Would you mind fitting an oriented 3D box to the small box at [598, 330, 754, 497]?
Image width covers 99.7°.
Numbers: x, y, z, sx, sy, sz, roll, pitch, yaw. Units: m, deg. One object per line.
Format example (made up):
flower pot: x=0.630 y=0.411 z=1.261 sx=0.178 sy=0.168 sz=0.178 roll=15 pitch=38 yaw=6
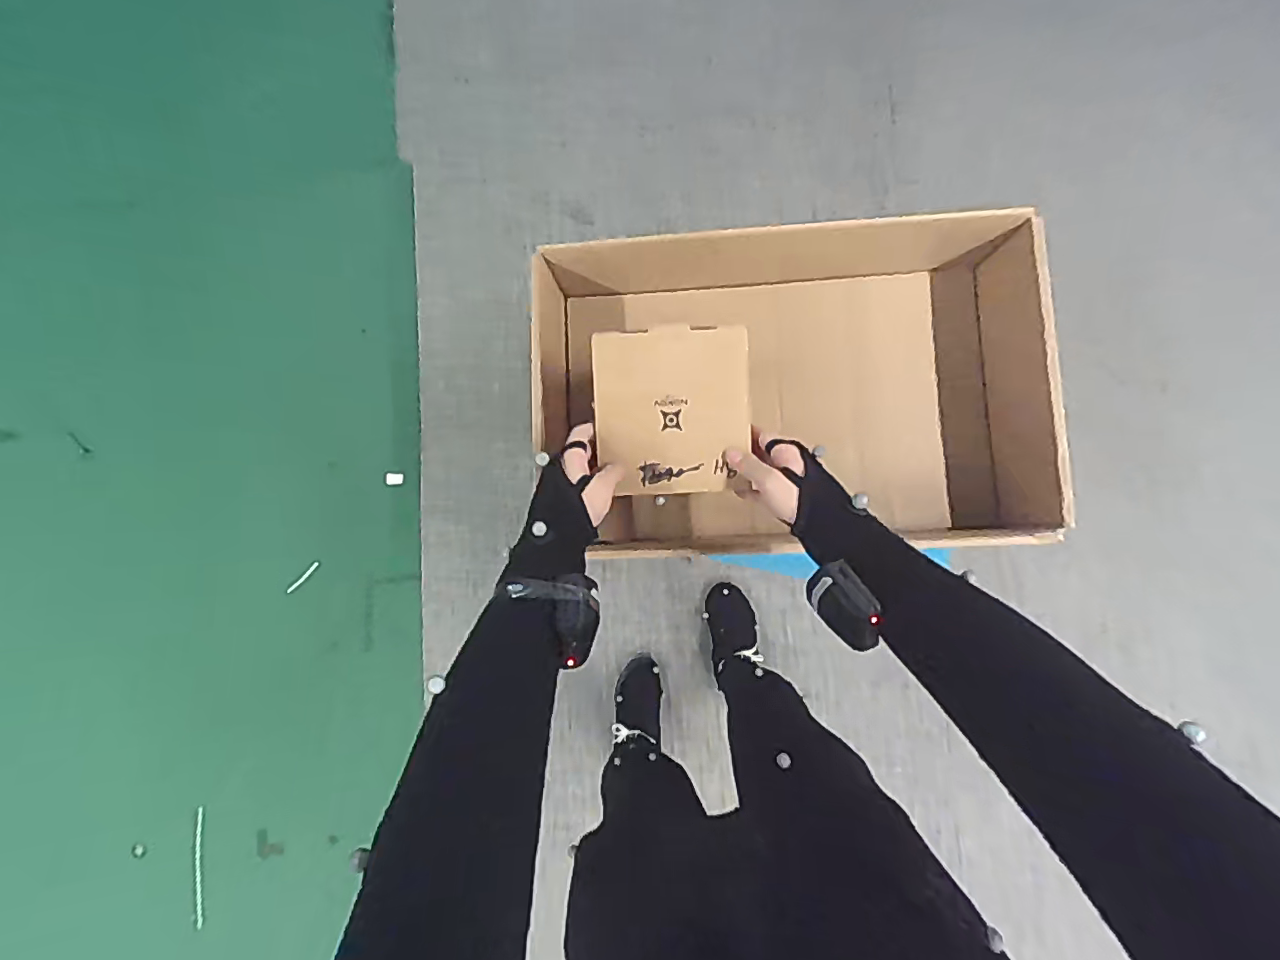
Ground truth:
small box: x=0.043 y=-0.072 z=0.656 sx=0.168 sy=0.176 sz=0.179 roll=-2 pitch=92 yaw=5
